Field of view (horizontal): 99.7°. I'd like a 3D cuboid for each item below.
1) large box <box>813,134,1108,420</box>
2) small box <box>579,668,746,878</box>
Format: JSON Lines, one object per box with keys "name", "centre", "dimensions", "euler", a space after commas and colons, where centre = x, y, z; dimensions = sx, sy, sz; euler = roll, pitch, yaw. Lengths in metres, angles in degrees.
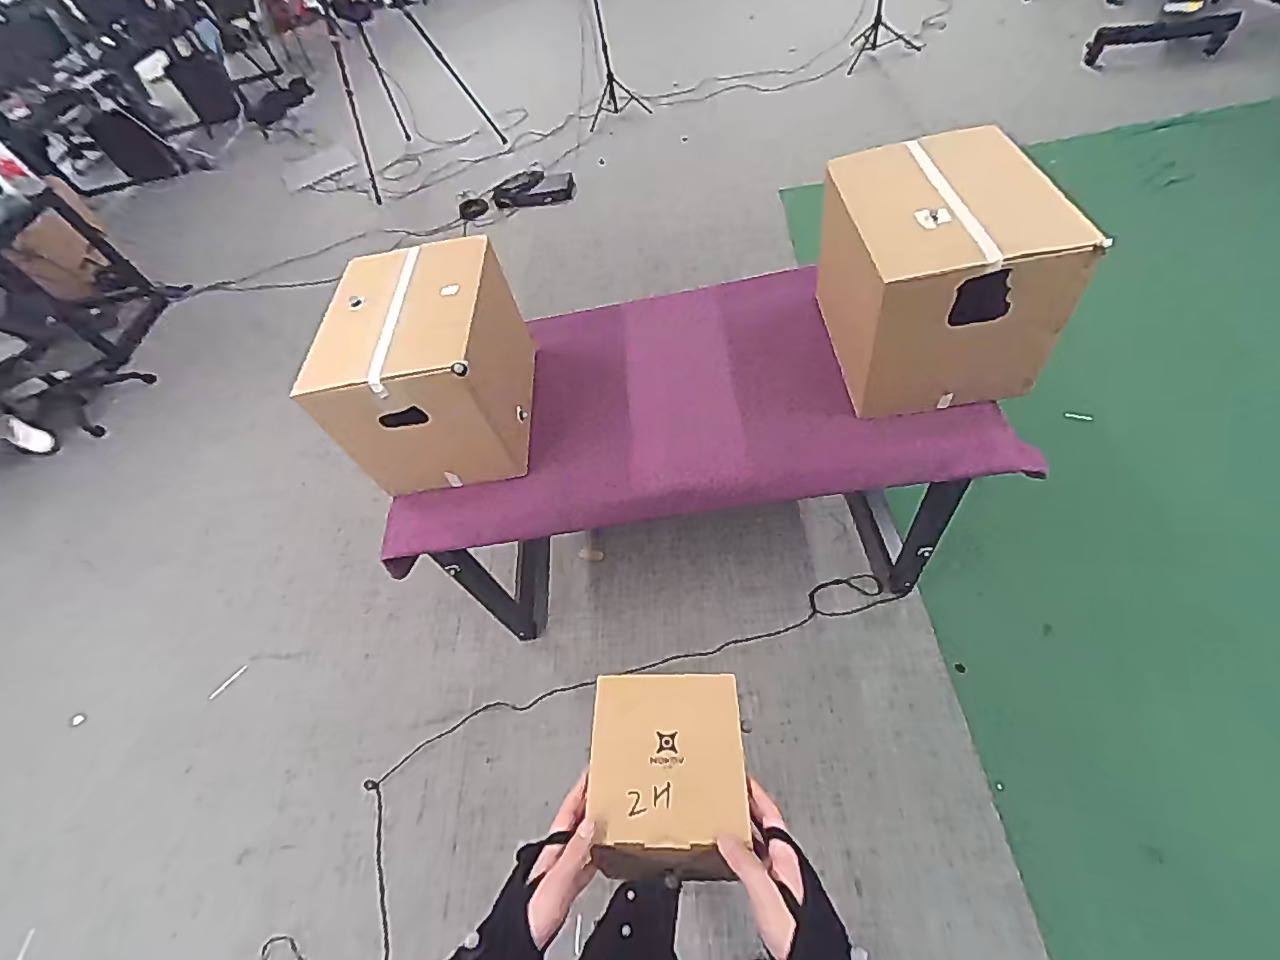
{"name": "large box", "centre": [0.538, -0.377, 1.024], "dimensions": [0.320, 0.320, 0.408], "euler": [-8, 54, 8]}
{"name": "small box", "centre": [0.030, 0.342, 0.636], "dimensions": [0.168, 0.176, 0.179], "euler": [-2, 45, 5]}
